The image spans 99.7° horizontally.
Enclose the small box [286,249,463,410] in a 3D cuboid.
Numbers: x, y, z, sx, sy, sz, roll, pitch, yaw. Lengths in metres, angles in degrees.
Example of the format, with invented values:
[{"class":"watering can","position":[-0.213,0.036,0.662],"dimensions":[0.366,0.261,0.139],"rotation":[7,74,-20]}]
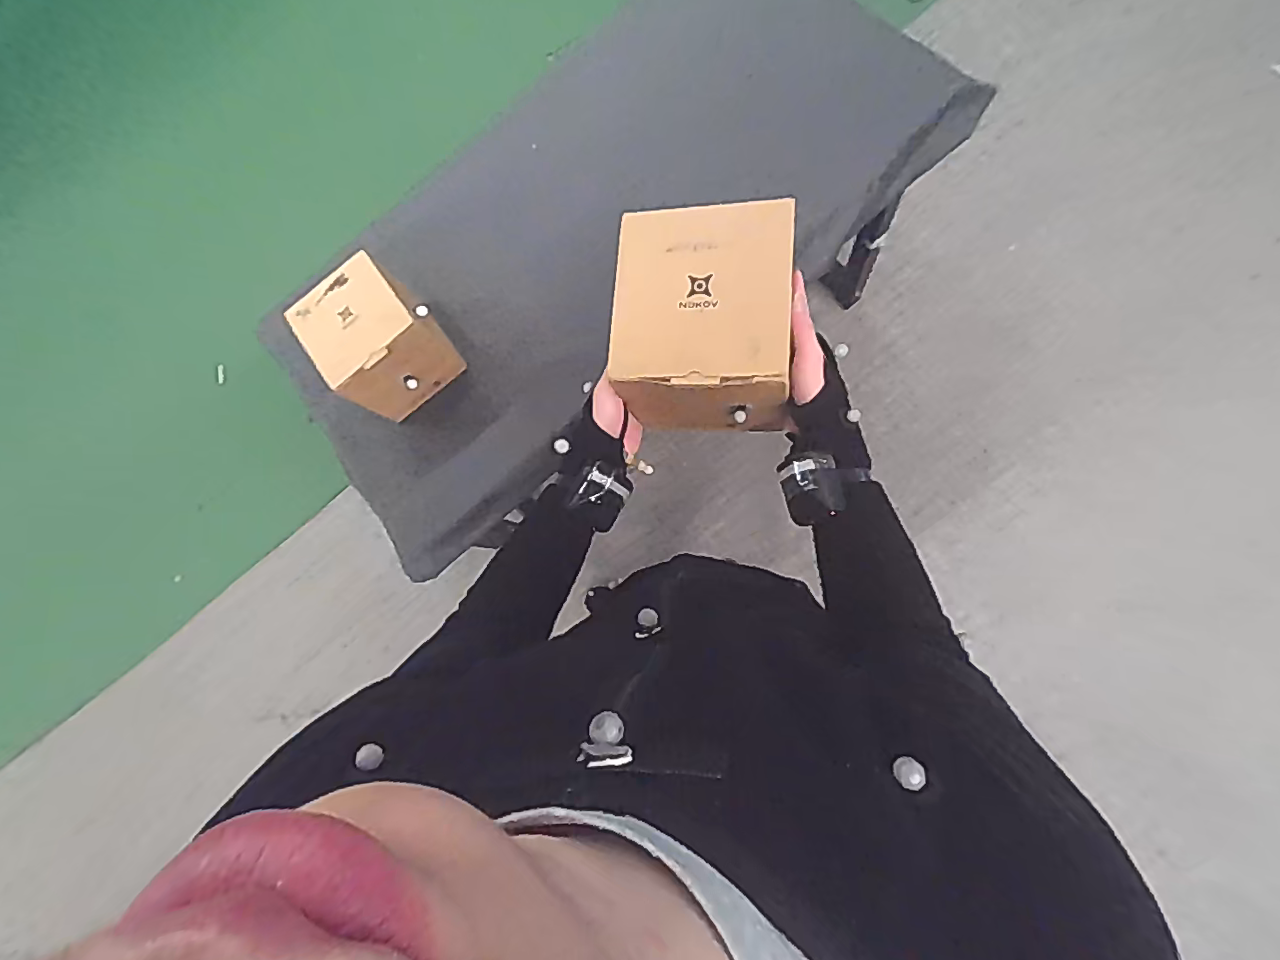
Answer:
[{"class":"small box","position":[-0.434,-0.238,0.910],"dimensions":[0.168,0.176,0.179],"rotation":[-38,76,0]}]

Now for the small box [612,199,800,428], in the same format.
[{"class":"small box","position":[0.077,-0.160,0.571],"dimensions":[0.168,0.176,0.179],"rotation":[3,79,13]}]
